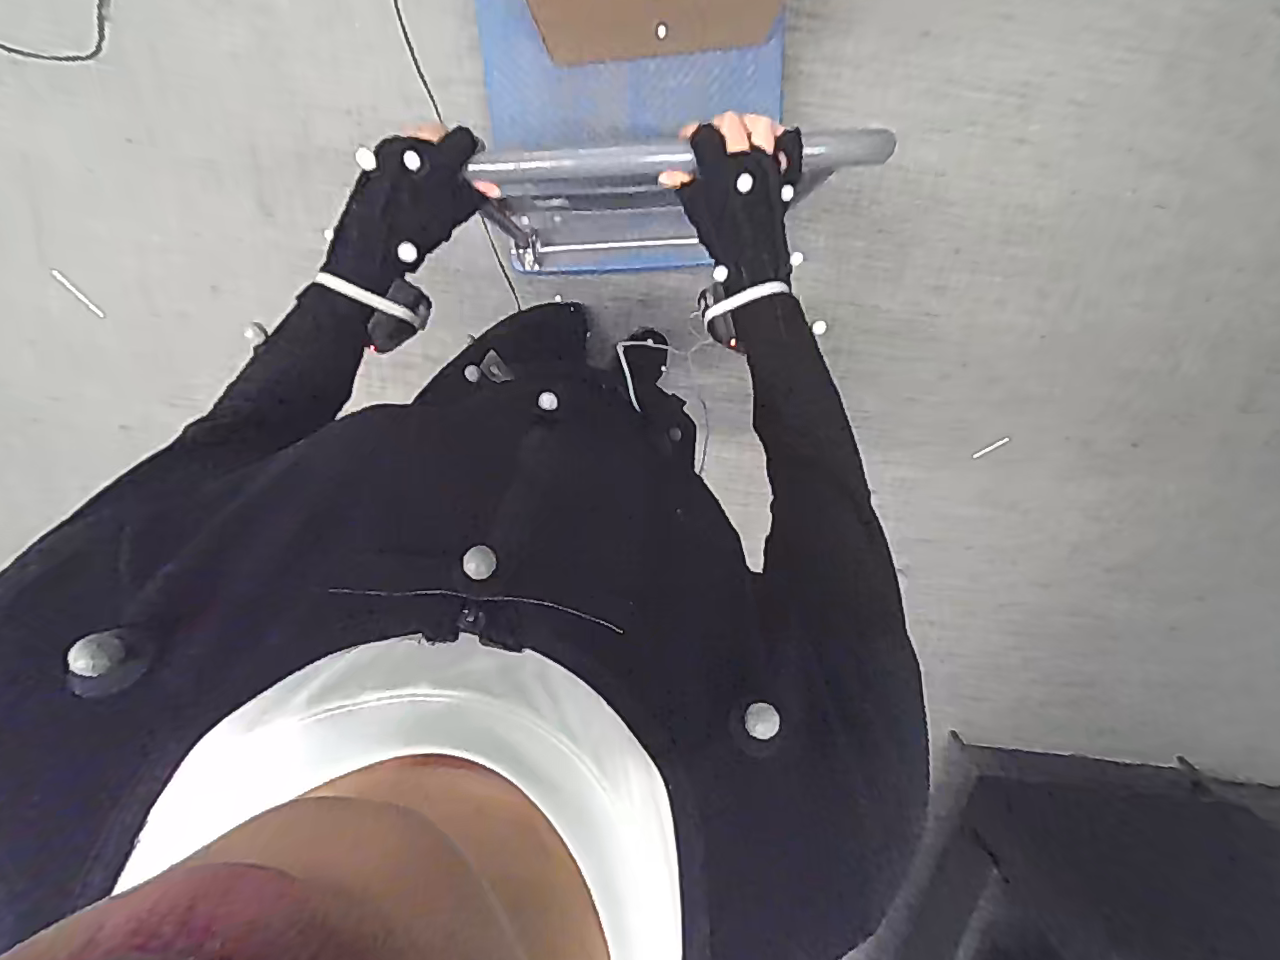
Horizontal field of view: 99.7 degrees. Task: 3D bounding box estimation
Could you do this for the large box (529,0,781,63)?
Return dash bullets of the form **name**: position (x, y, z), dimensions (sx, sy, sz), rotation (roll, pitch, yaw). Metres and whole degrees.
- **large box**: position (0.022, -0.908, 0.846), dimensions (0.408, 0.320, 0.320), rotation (-4, 110, 3)
